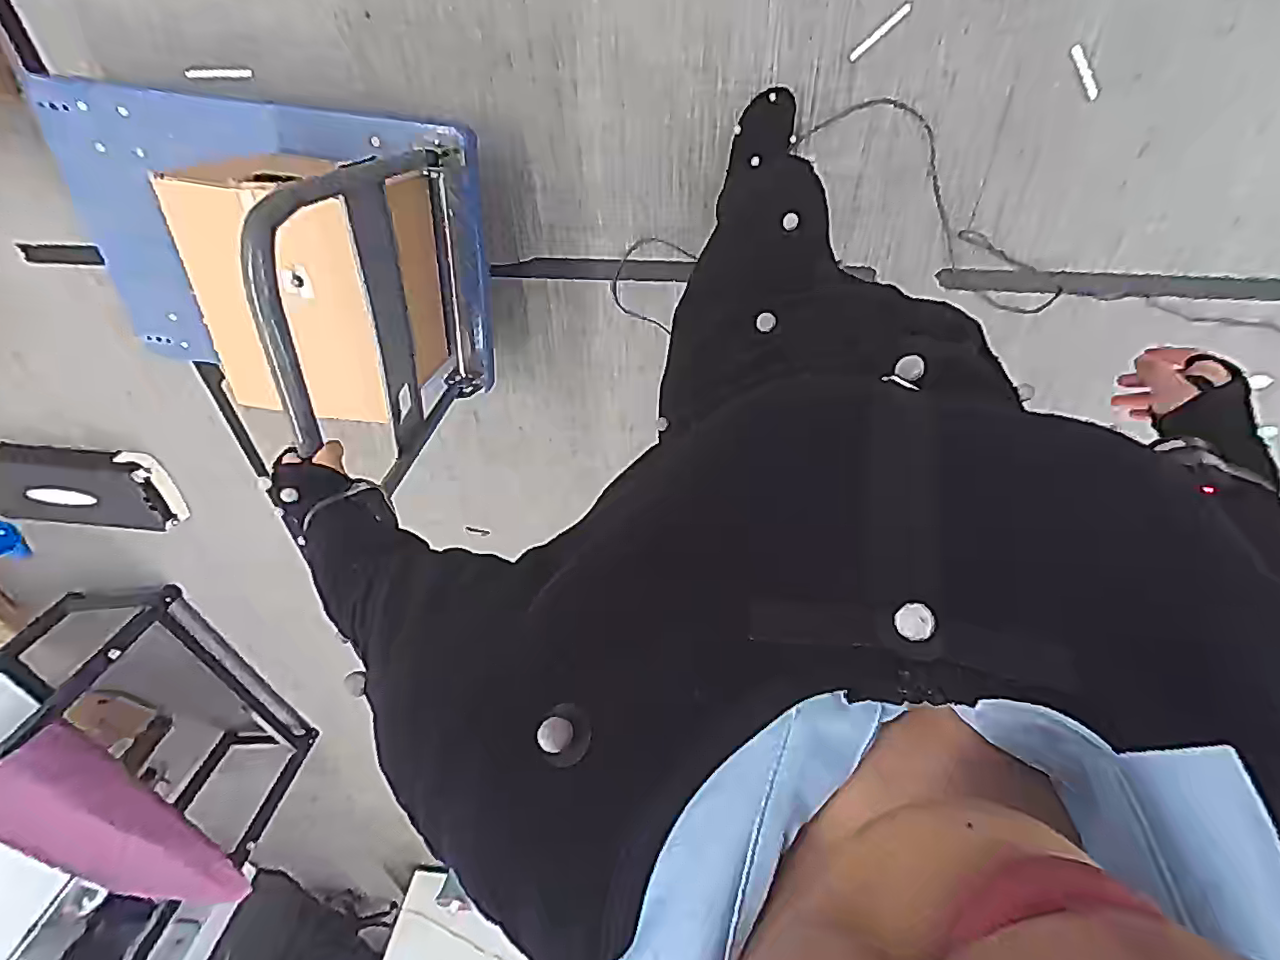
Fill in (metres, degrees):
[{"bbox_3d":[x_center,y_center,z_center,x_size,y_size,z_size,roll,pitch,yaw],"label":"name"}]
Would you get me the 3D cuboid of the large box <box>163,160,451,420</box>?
[{"bbox_3d":[-0.600,-0.380,1.077,0.320,0.320,0.408,7,125,0],"label":"large box"}]
